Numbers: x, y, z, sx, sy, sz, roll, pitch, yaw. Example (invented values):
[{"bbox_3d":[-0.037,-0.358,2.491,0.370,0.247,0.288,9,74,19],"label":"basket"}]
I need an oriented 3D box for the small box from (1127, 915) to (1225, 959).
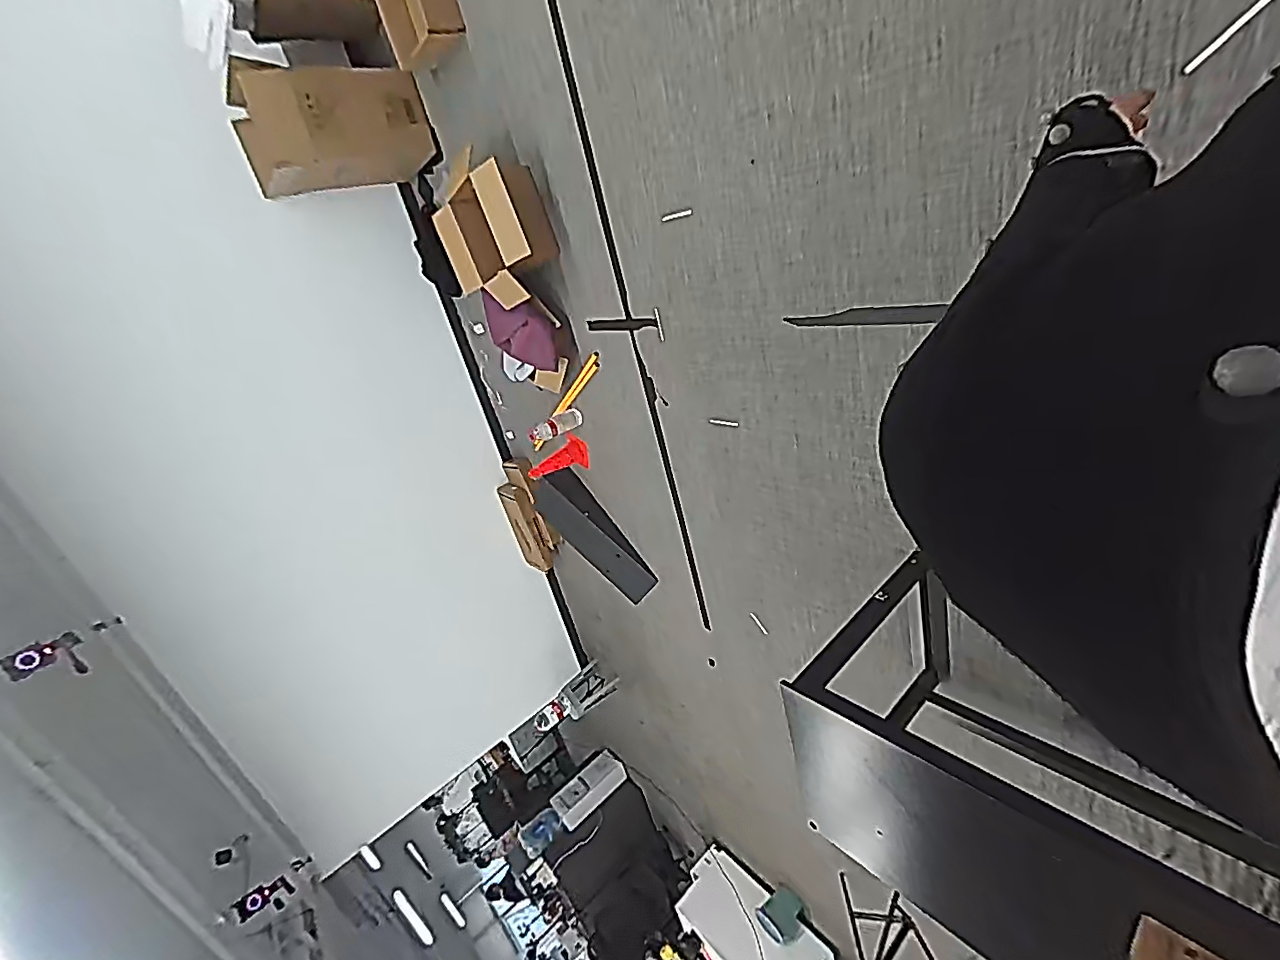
[{"bbox_3d":[0.859,0.843,0.840,0.168,0.176,0.179,15,129,50],"label":"small box"}]
